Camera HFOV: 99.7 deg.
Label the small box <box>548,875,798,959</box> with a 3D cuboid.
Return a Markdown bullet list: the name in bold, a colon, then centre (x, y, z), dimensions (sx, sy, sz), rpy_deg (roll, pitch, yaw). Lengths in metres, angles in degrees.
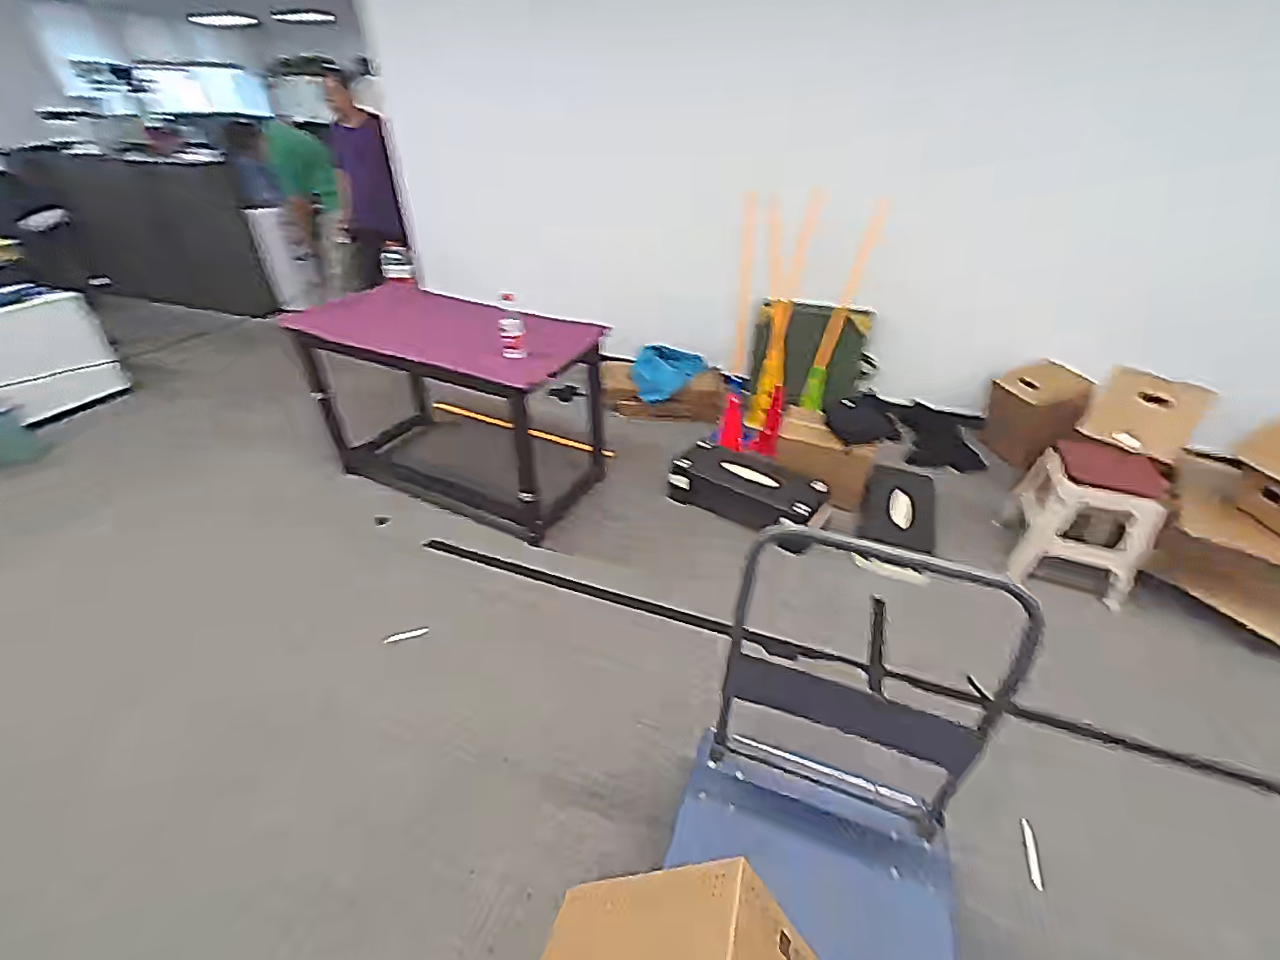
- **small box**: centre (0.025, 0.403, 0.361), dimensions (0.179, 0.168, 0.176), rpy_deg (-30, 9, 27)
